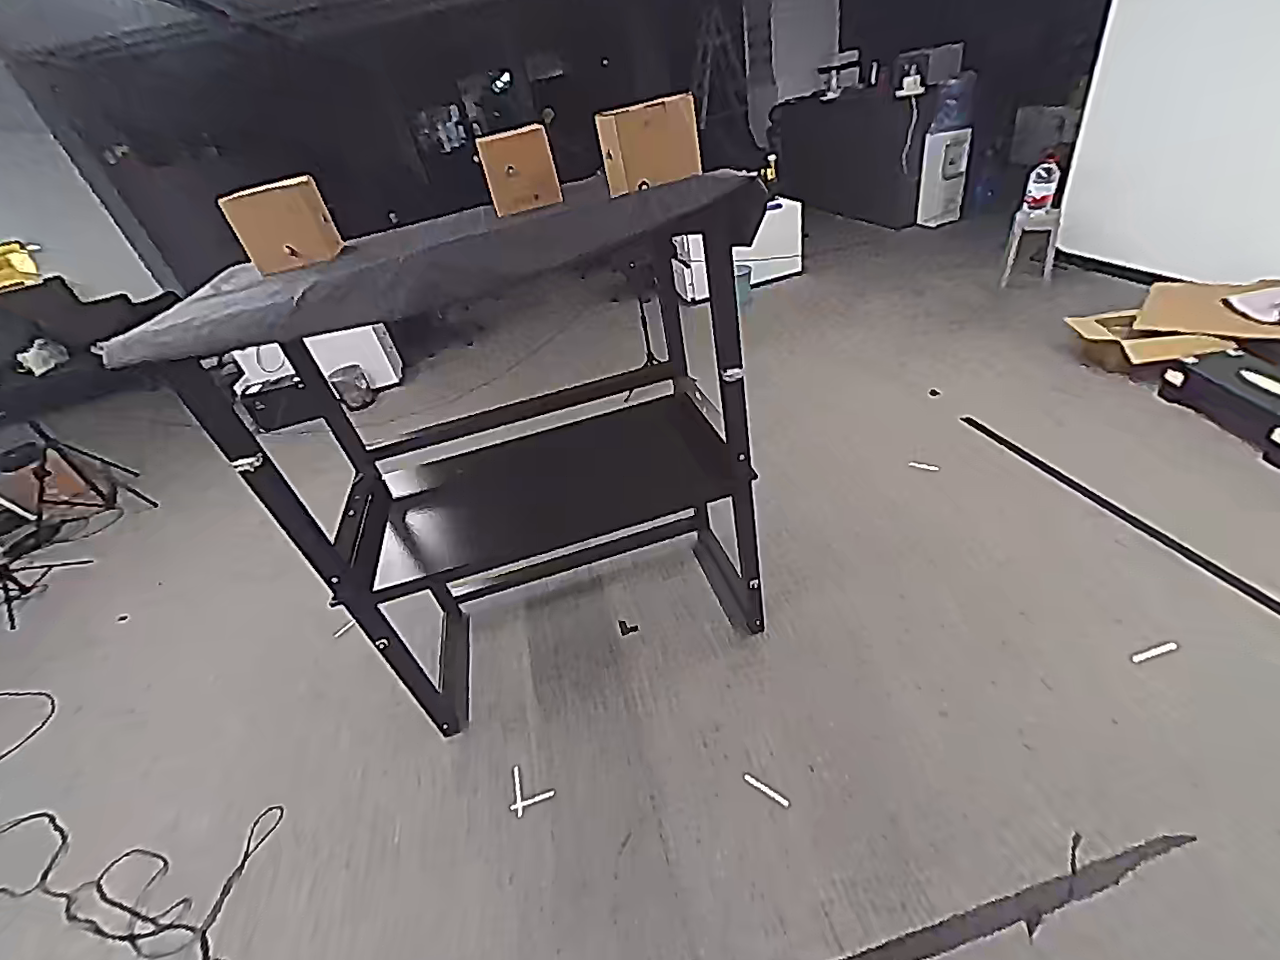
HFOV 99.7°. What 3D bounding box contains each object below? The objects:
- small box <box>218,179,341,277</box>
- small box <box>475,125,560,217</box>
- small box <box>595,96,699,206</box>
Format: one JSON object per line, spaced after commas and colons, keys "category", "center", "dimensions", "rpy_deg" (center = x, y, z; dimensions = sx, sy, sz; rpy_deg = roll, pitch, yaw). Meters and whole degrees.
{"category": "small box", "center": [-0.858, -0.614, 1.312], "dimensions": [0.179, 0.176, 0.168], "rpy_deg": [-17, 36, -8]}
{"category": "small box", "center": [-0.311, -0.786, 1.380], "dimensions": [0.168, 0.176, 0.179], "rpy_deg": [-18, 36, -6]}
{"category": "small box", "center": [0.016, -0.703, 1.162], "dimensions": [0.168, 0.176, 0.179], "rpy_deg": [-19, 35, -8]}
